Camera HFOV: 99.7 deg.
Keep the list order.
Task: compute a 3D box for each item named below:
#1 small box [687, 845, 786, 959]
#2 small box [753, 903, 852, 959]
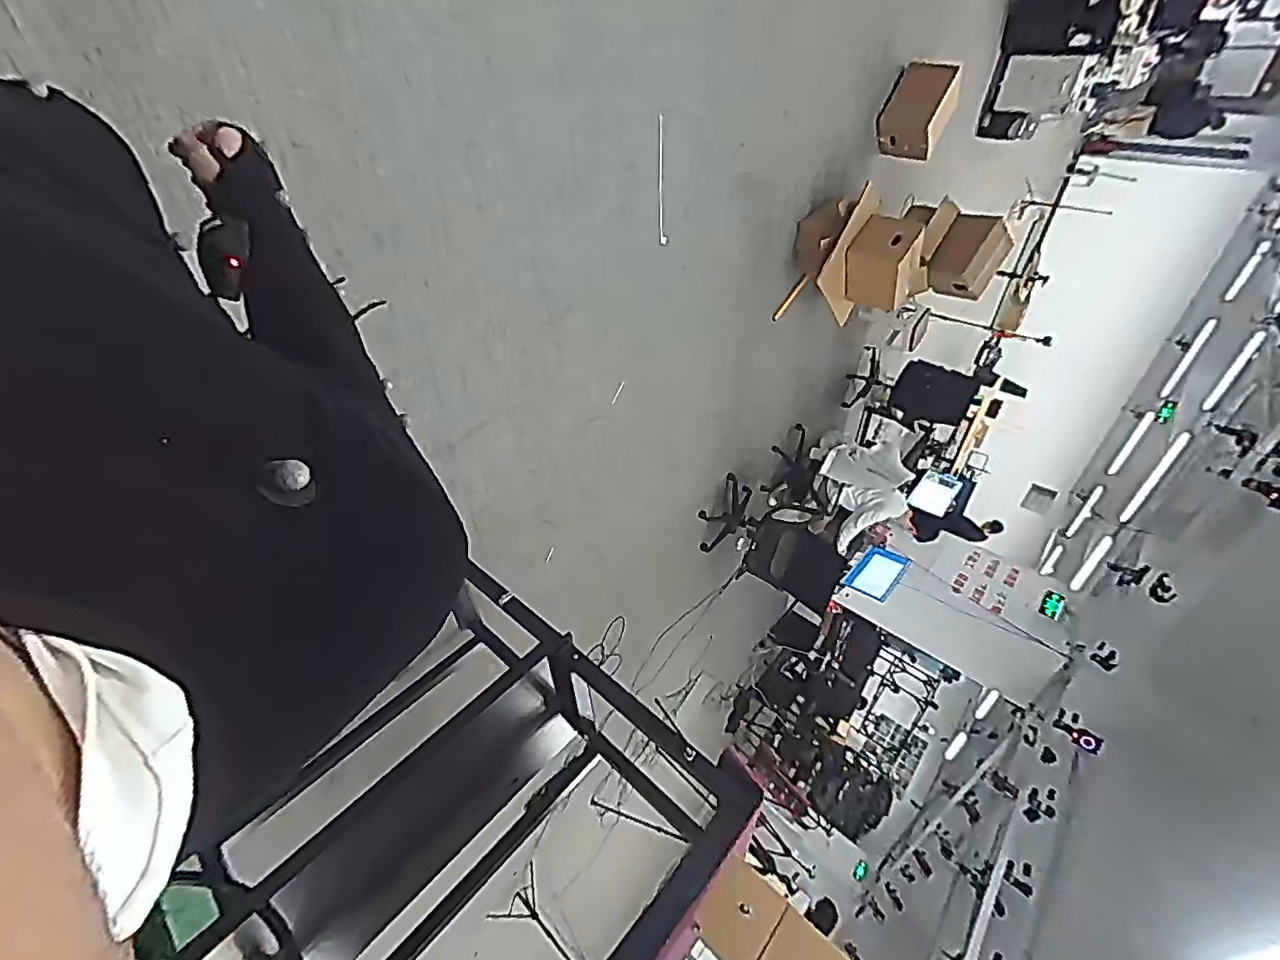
[{"bbox_3d":[0.228,1.046,1.314,0.179,0.176,0.168,-39,143,-33],"label":"small box"},{"bbox_3d":[0.349,1.118,1.229,0.179,0.176,0.168,-36,141,-33],"label":"small box"}]
